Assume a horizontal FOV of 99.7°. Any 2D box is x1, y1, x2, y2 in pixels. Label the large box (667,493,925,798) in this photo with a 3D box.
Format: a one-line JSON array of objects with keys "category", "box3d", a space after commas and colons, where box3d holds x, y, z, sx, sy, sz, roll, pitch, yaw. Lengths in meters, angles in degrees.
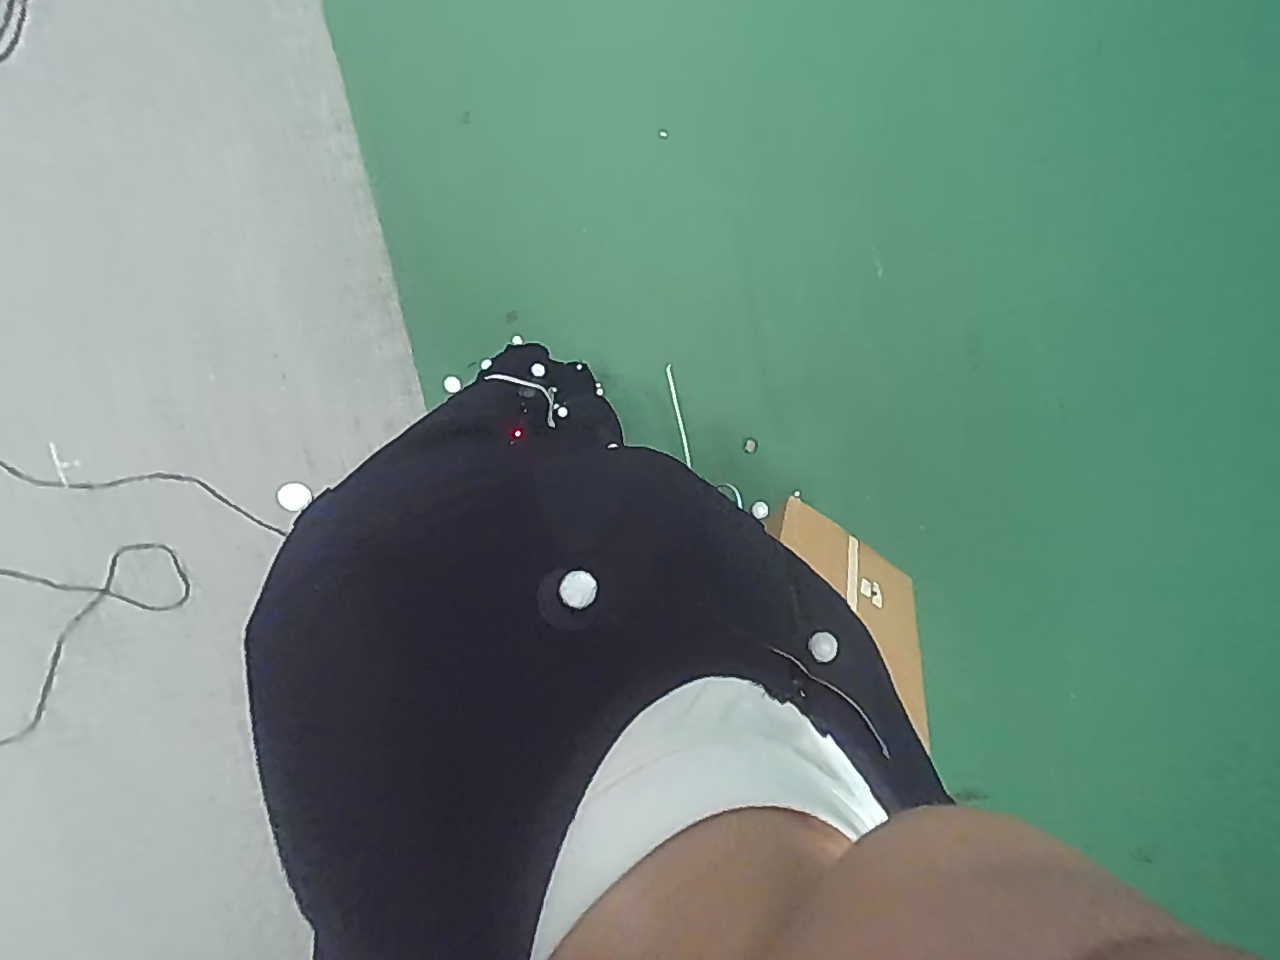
[{"category": "large box", "box3d": [0.295, 0.307, 1.054, 0.320, 0.408, 0.320, 35, 126, -1]}]
